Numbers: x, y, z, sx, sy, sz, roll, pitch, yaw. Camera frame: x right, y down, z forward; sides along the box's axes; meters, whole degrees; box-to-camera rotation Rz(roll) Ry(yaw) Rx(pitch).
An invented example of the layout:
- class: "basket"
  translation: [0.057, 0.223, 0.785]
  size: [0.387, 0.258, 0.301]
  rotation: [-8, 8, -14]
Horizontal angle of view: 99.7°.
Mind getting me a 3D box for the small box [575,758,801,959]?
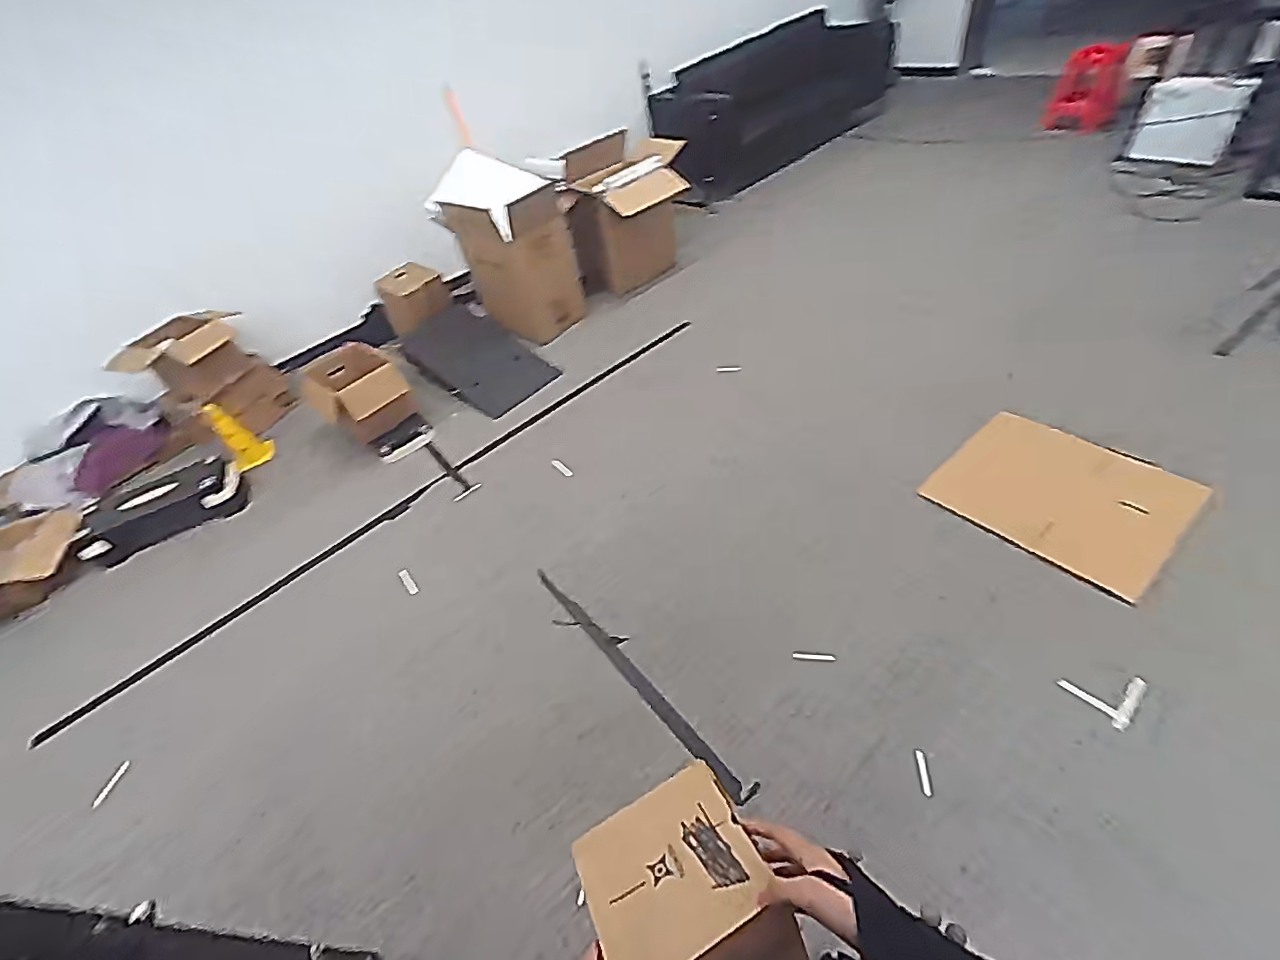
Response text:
- class: "small box"
  translation: [0.055, 0.456, 0.586]
  size: [0.179, 0.176, 0.168]
  rotation: [-27, 27, -13]
